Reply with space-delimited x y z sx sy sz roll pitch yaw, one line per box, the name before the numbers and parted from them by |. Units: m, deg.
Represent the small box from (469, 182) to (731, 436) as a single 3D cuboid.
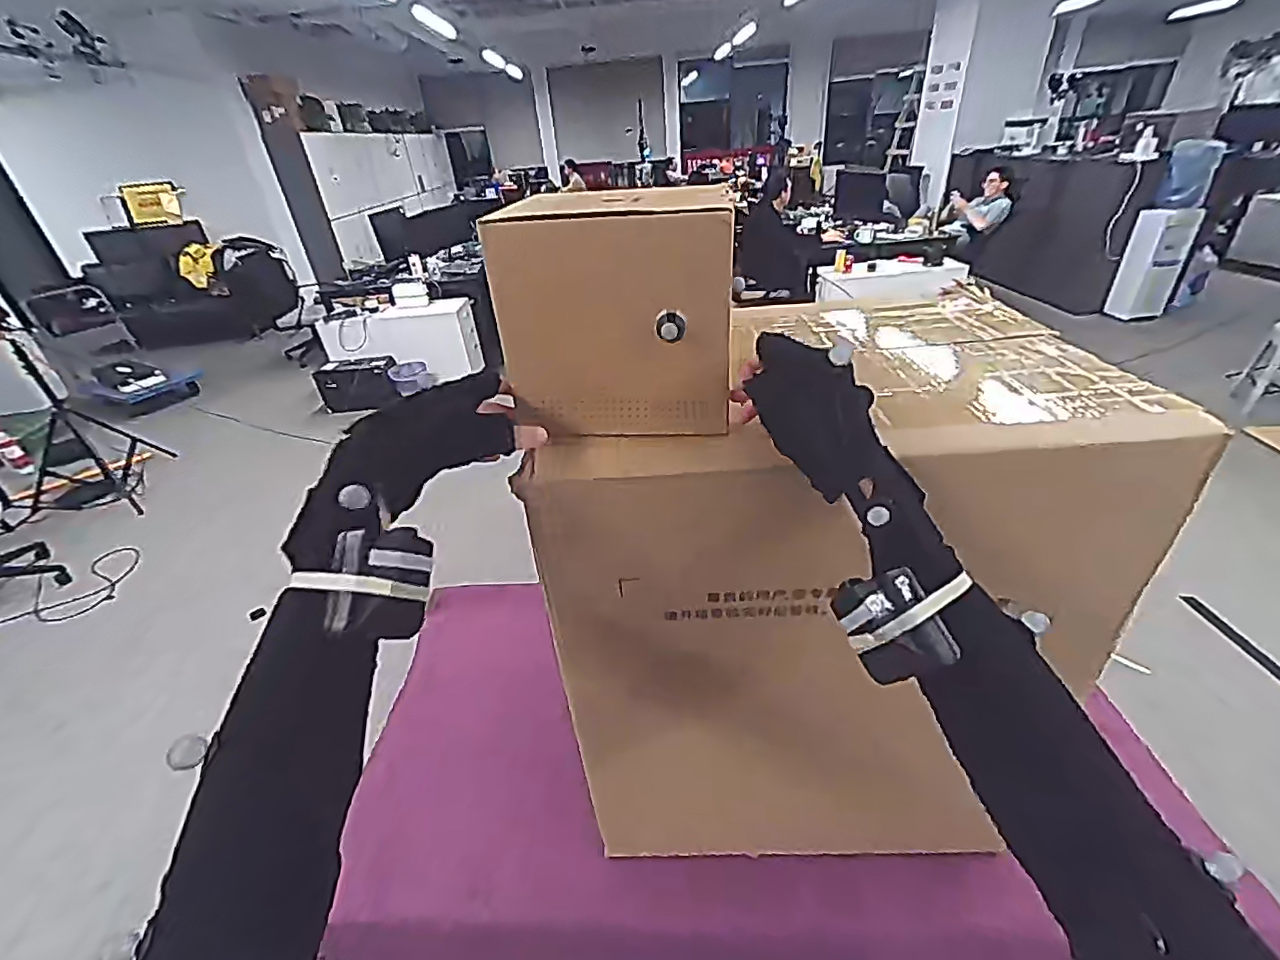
small box | -0.017 -0.147 0.462 0.179 0.176 0.168 -1 32 6
